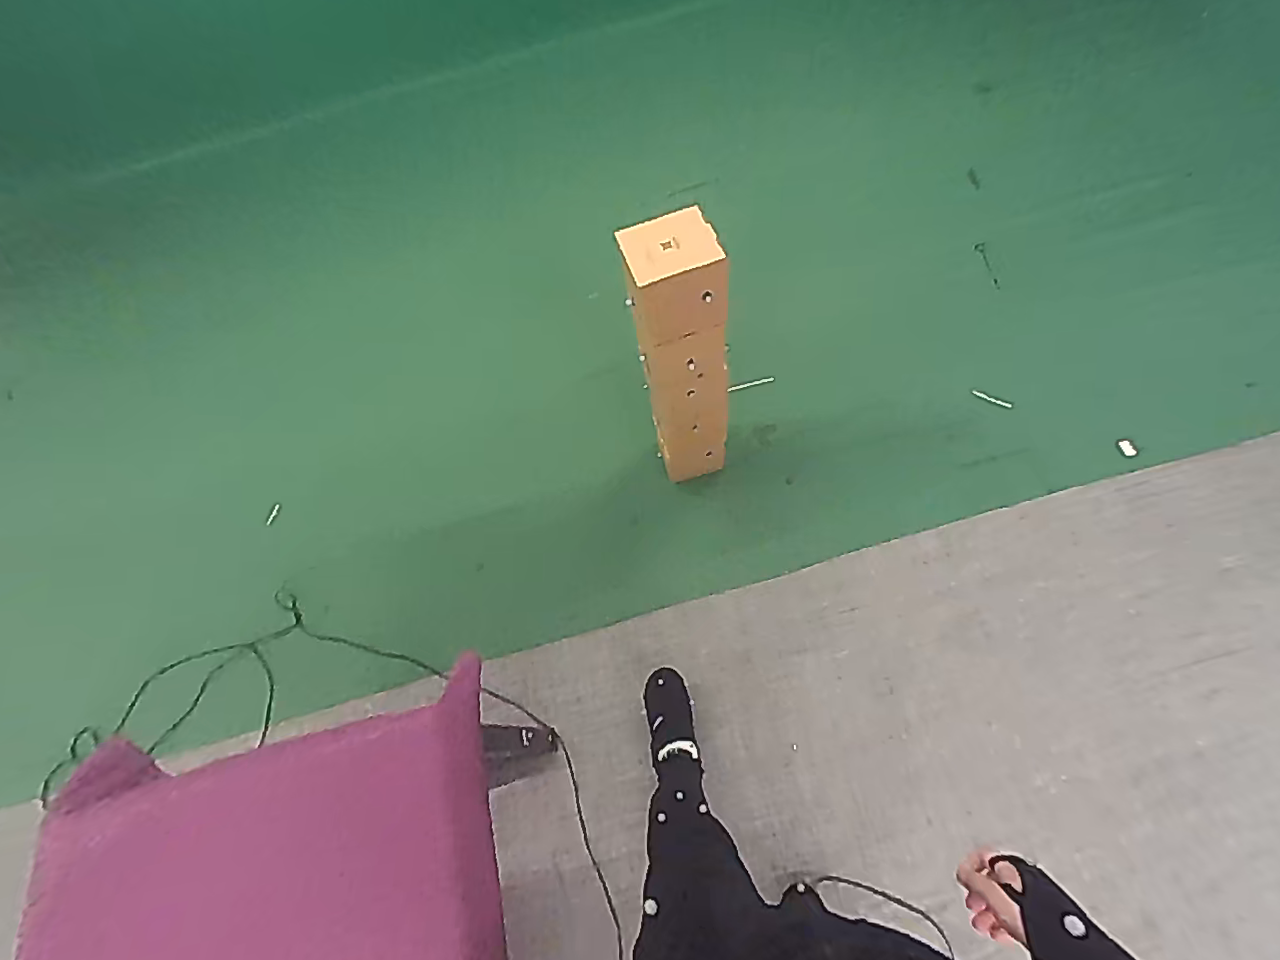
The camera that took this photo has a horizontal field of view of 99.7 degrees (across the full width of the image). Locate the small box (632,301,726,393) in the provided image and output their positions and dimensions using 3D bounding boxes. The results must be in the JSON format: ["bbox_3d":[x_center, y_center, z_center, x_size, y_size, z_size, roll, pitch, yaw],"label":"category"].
[{"bbox_3d":[0.095,-0.322,1.248,0.168,0.176,0.179,-19,63,-1],"label":"small box"}]

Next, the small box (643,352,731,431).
[{"bbox_3d":[0.124,-0.251,1.392,0.179,0.176,0.168,-20,63,-2],"label":"small box"}]

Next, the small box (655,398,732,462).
[{"bbox_3d":[0.150,-0.177,1.536,0.179,0.176,0.168,-19,62,-1],"label":"small box"}]

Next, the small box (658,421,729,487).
[{"bbox_3d":[0.166,-0.101,1.678,0.179,0.176,0.168,-16,62,0],"label":"small box"}]

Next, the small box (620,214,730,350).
[{"bbox_3d":[0.074,-0.399,1.104,0.179,0.176,0.168,-19,61,0],"label":"small box"}]
